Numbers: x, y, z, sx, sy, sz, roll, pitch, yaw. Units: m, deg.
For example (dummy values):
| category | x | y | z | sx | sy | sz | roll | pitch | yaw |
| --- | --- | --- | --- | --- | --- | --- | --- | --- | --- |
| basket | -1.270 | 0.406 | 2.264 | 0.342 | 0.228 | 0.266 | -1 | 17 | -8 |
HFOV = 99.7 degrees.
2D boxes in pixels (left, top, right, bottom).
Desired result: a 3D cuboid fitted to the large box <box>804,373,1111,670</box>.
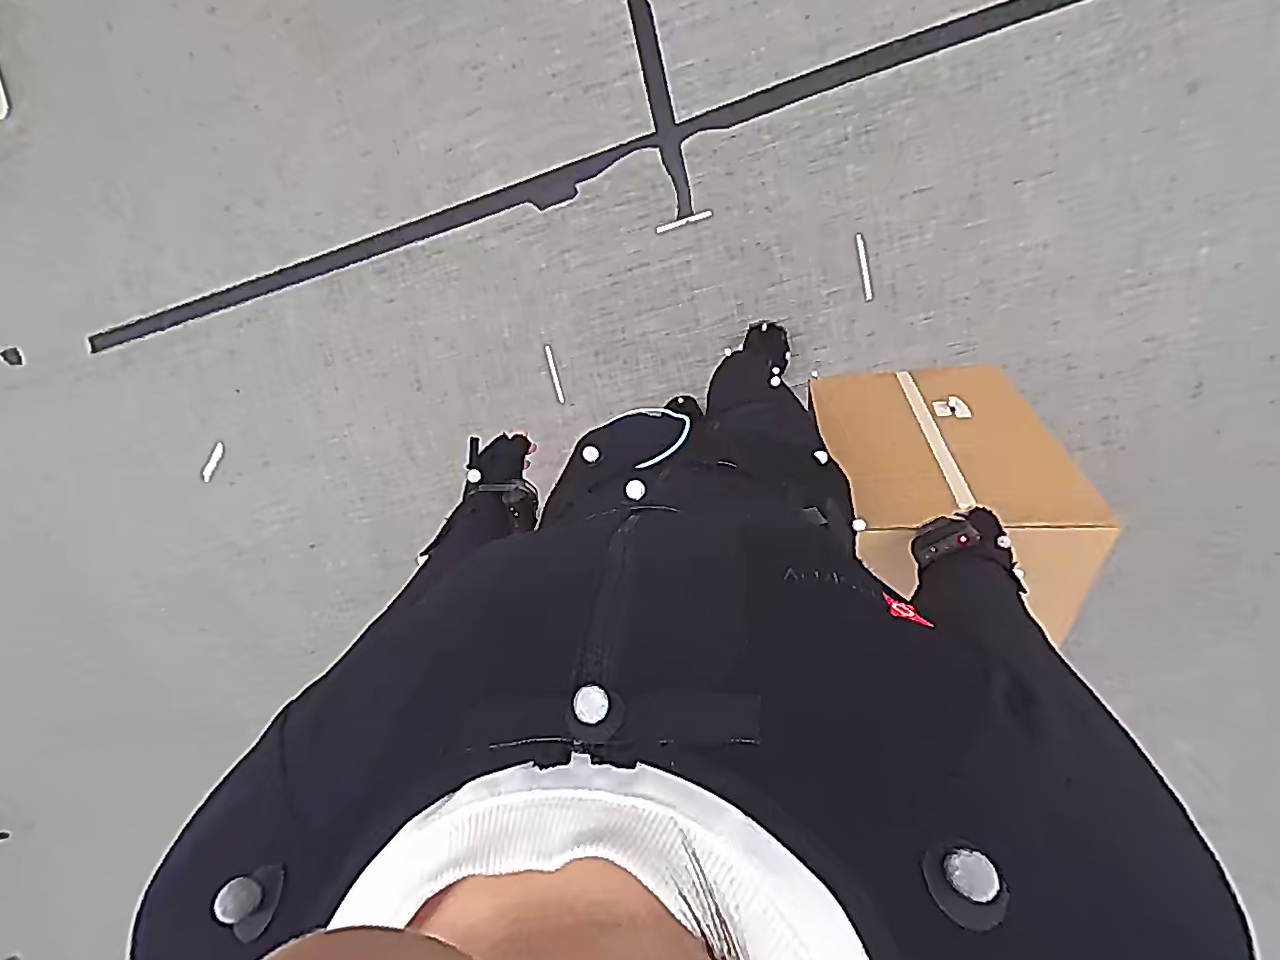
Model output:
| category | x | y | z | sx | sy | sz | roll | pitch | yaw |
| --- | --- | --- | --- | --- | --- | --- | --- | --- | --- |
| large box | 0.457 | 0.058 | 0.907 | 0.320 | 0.408 | 0.320 | -1 | 127 | 11 |
